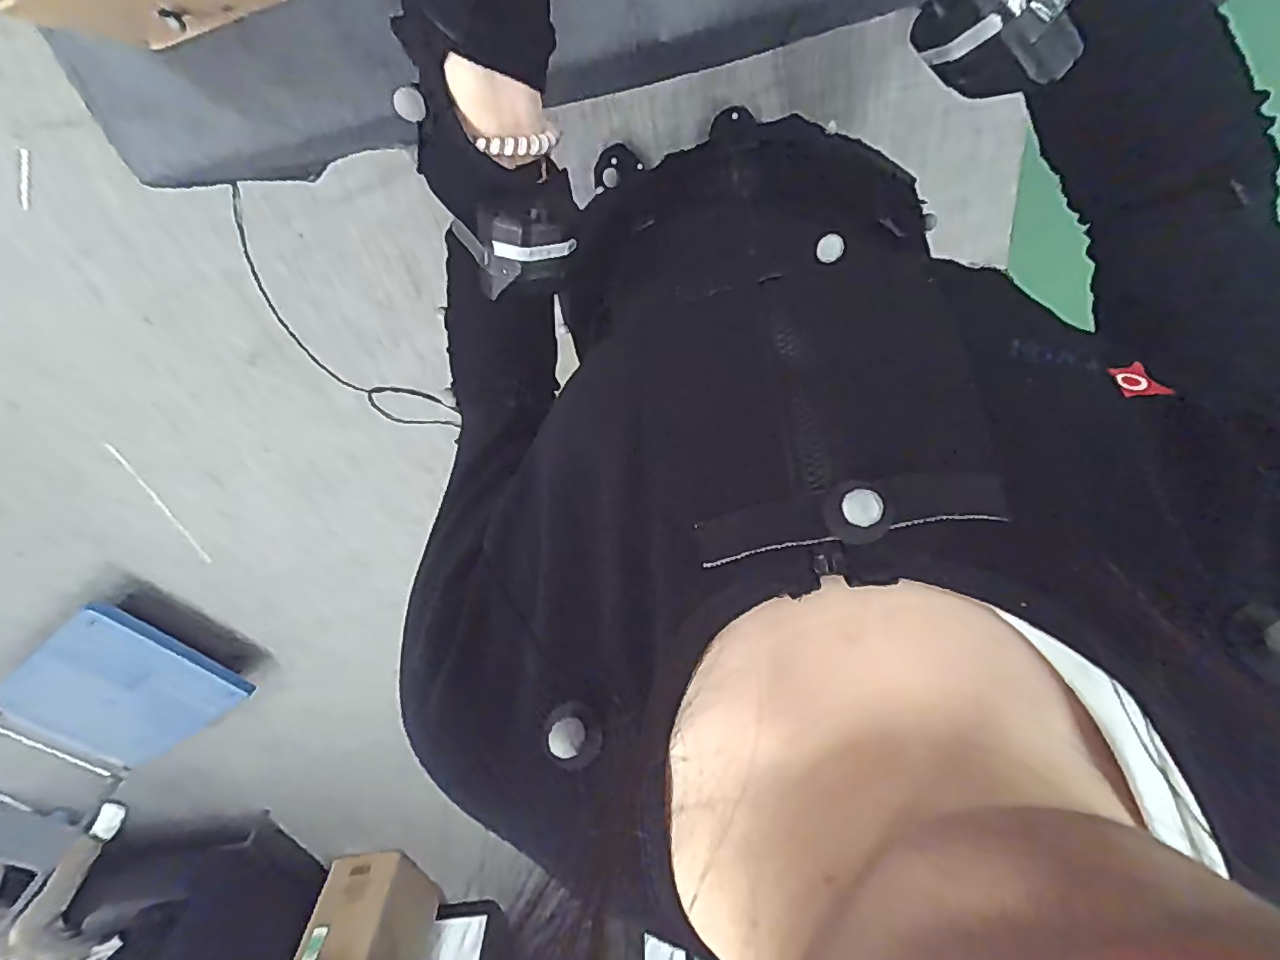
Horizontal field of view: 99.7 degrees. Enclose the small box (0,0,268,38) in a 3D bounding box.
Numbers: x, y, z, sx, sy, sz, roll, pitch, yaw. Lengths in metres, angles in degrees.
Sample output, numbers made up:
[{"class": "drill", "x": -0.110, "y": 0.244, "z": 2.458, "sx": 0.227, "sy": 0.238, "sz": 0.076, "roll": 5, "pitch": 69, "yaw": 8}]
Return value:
[{"class": "small box", "x": -0.418, "y": -0.469, "z": 0.400, "sx": 0.168, "sy": 0.176, "sz": 0.179, "roll": -13, "pitch": 122, "yaw": 8}]
